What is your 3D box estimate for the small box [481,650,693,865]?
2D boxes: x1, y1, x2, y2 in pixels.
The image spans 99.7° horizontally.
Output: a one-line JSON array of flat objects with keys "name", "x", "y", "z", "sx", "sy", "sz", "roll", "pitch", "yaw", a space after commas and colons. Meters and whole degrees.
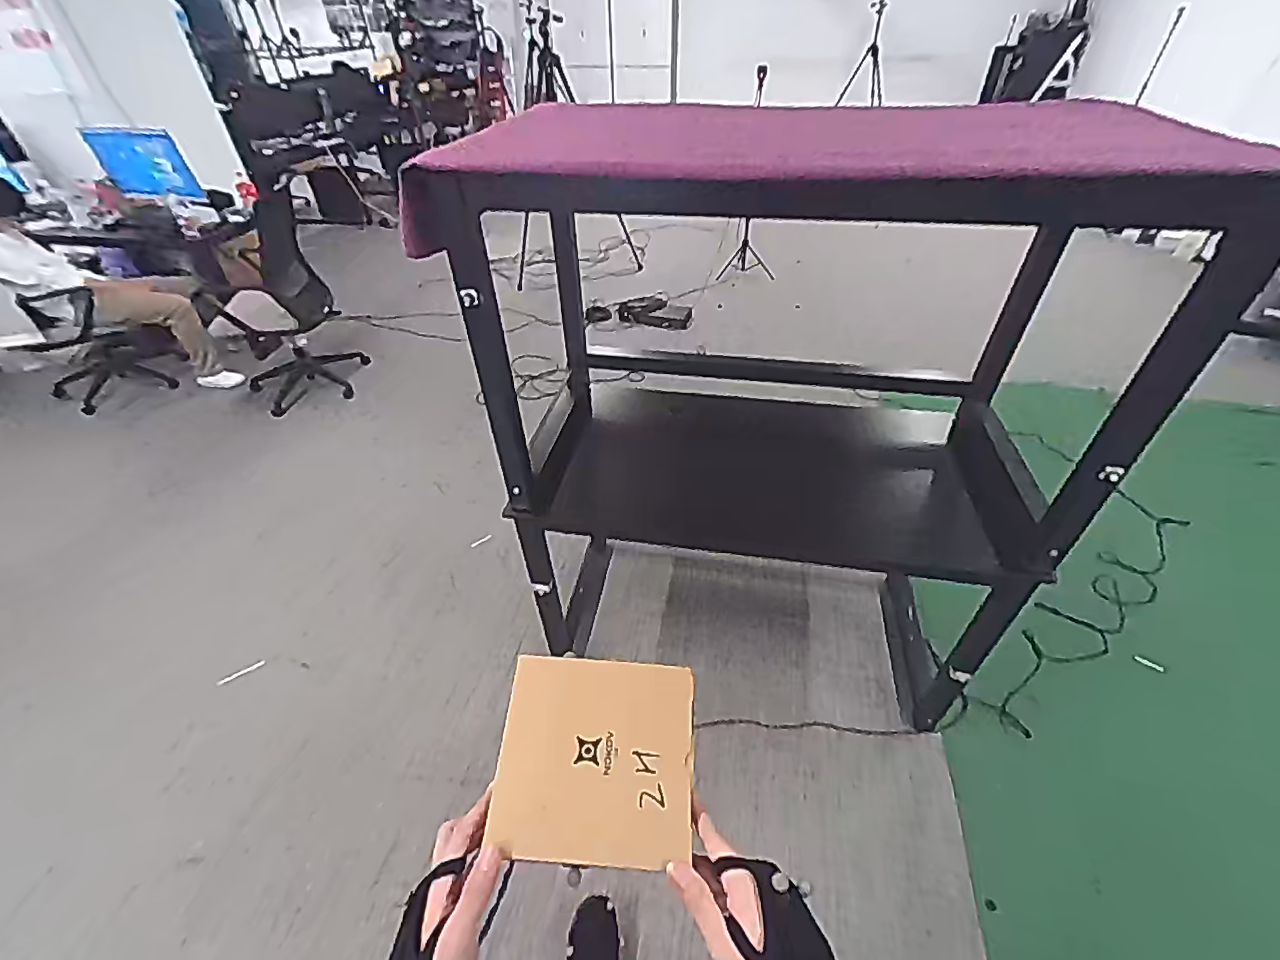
[{"name": "small box", "x": -0.041, "y": 0.287, "z": 0.553, "sx": 0.179, "sy": 0.176, "sz": 0.168, "roll": 4, "pitch": 56, "yaw": 1}]
